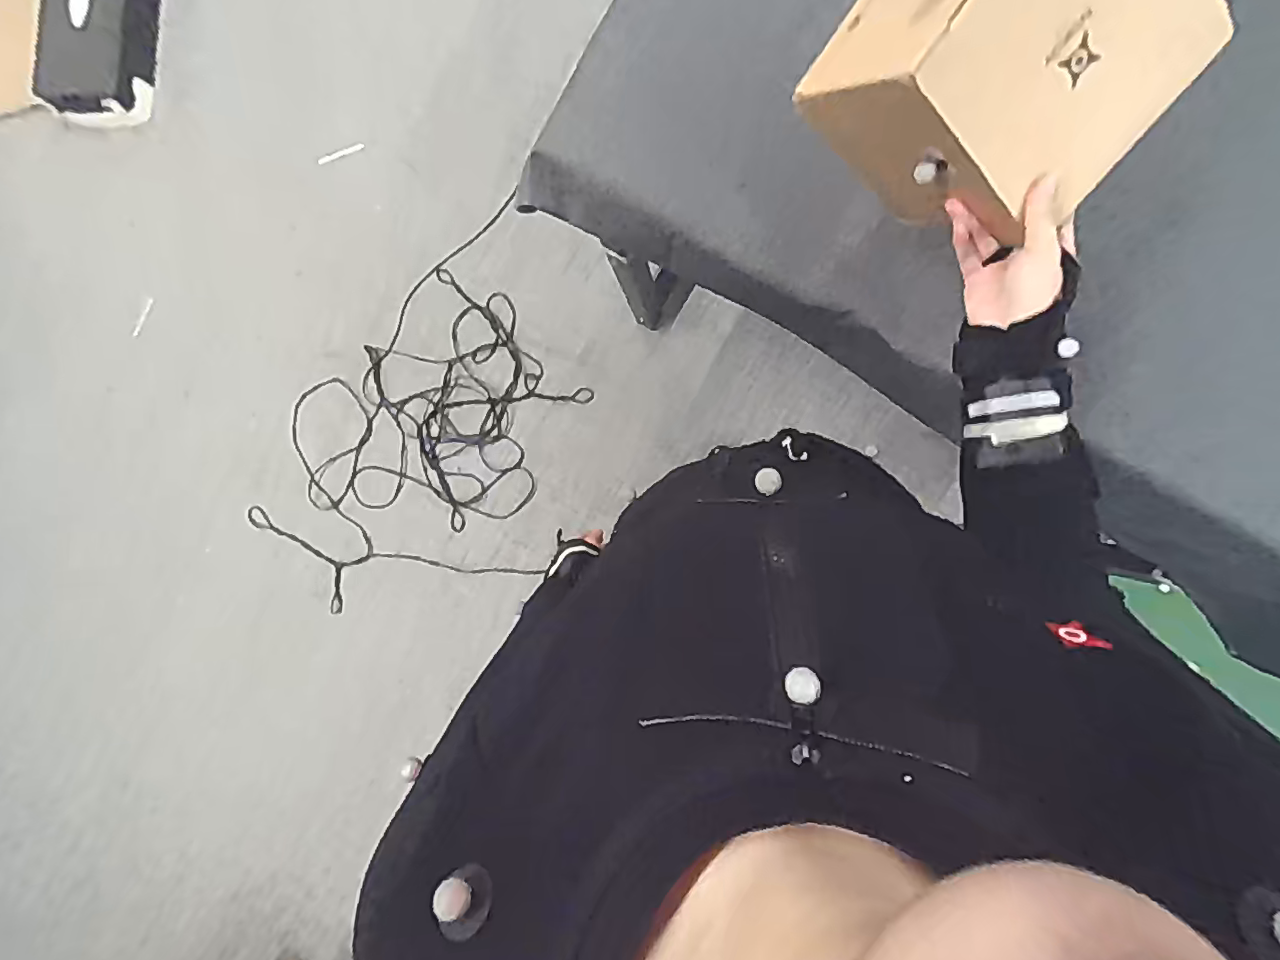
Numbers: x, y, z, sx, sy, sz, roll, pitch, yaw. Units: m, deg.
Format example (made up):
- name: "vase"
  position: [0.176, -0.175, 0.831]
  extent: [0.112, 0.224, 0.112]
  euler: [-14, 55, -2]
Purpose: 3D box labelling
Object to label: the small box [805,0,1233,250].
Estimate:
- name: "small box"
  position: [0.267, -0.312, 0.415]
  extent: [0.179, 0.176, 0.168]
  euler: [29, 109, -27]
